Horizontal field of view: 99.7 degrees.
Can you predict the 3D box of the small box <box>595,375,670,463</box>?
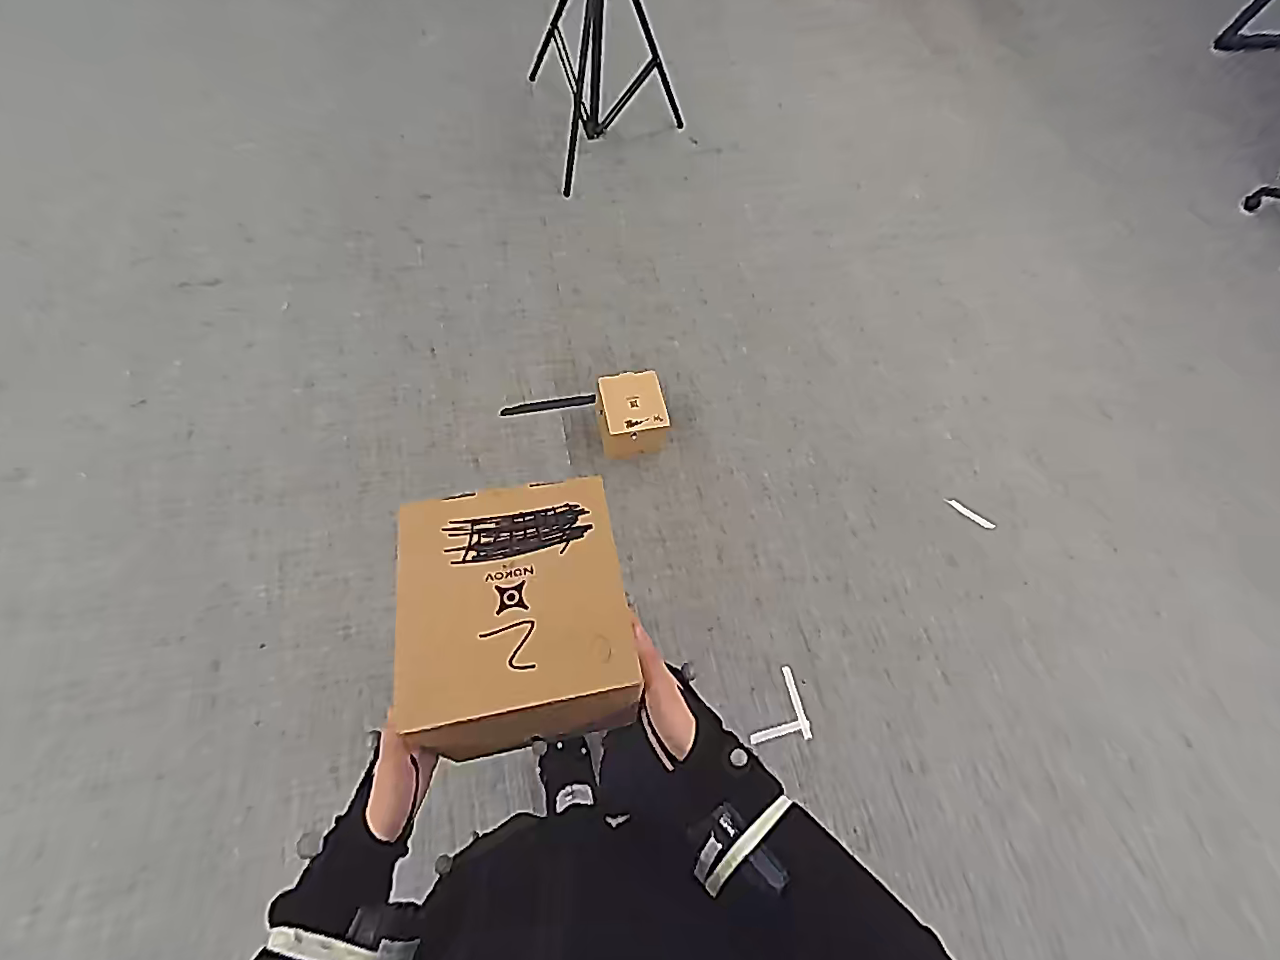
[{"bbox_3d":[-0.028,-0.168,1.514,0.168,0.176,0.179,-10,69,-11],"label":"small box"}]
